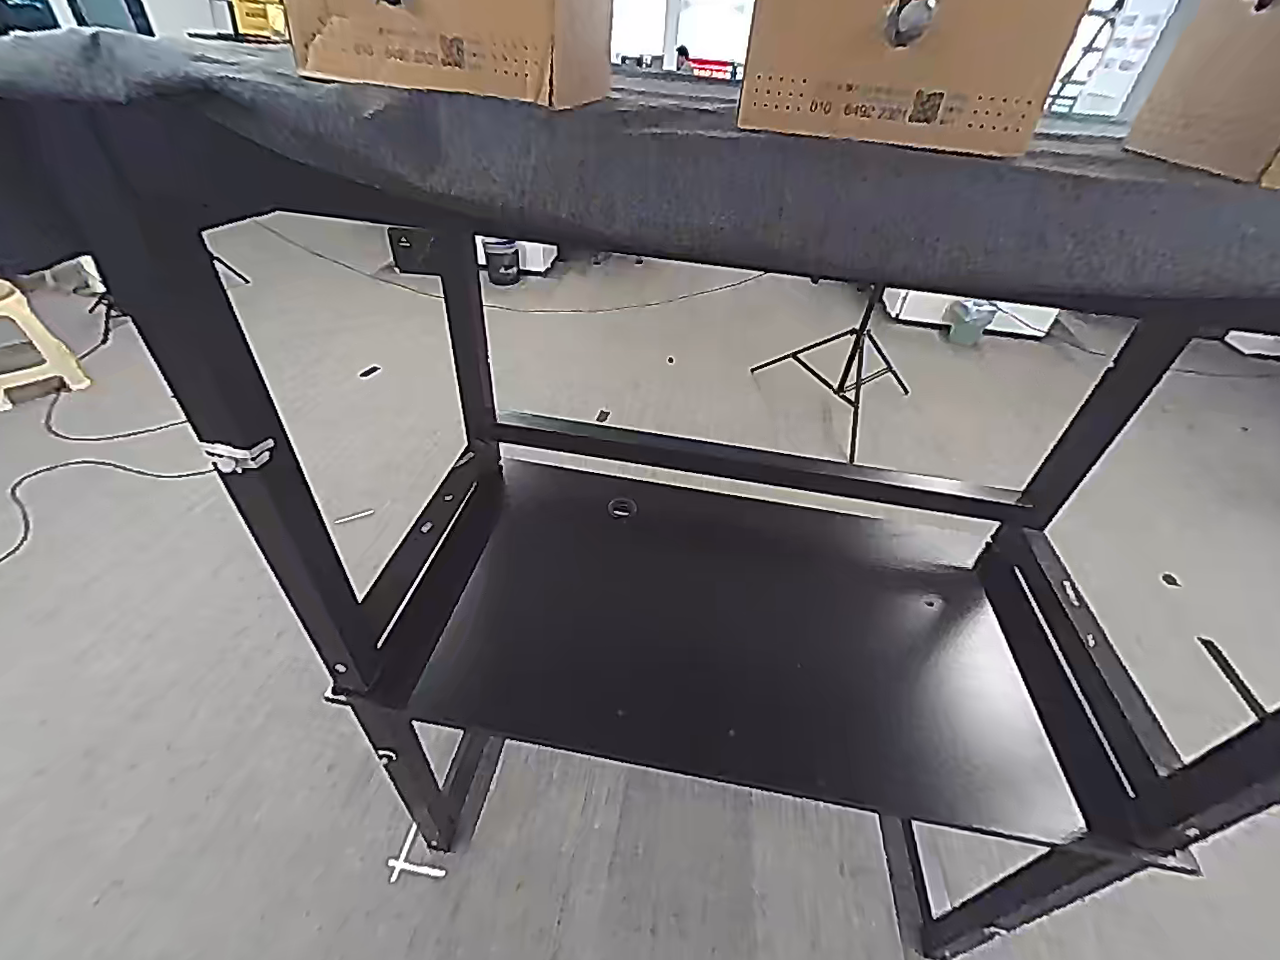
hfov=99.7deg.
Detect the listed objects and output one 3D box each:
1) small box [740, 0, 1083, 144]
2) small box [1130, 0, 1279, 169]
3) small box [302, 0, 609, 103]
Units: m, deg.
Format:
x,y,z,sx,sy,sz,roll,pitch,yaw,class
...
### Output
x,y,z,sx,sy,sz,roll,pitch,yaw,class
0.158,-0.318,0.329,0.168,0.176,0.179,9,38,5,small box
0.454,-0.273,0.311,0.168,0.176,0.179,11,38,8,small box
-0.111,-0.358,0.348,0.168,0.176,0.179,9,38,3,small box
